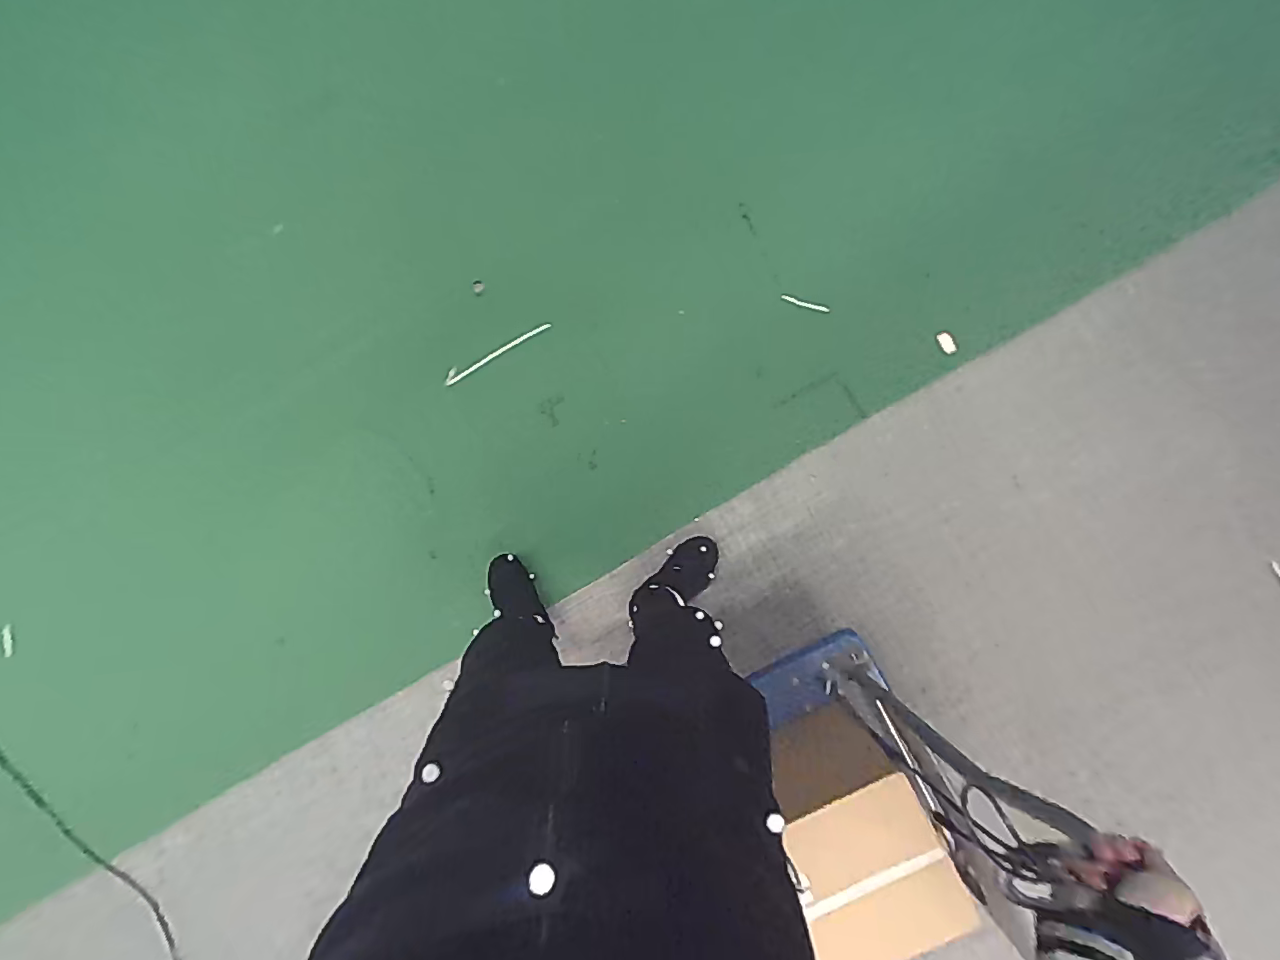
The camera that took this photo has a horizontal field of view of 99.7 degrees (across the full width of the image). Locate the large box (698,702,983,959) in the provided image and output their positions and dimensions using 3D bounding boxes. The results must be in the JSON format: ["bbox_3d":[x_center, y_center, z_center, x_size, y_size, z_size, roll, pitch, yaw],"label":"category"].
[{"bbox_3d":[0.367,0.731,1.101,0.408,0.320,0.320,-27,90,4],"label":"large box"}]
